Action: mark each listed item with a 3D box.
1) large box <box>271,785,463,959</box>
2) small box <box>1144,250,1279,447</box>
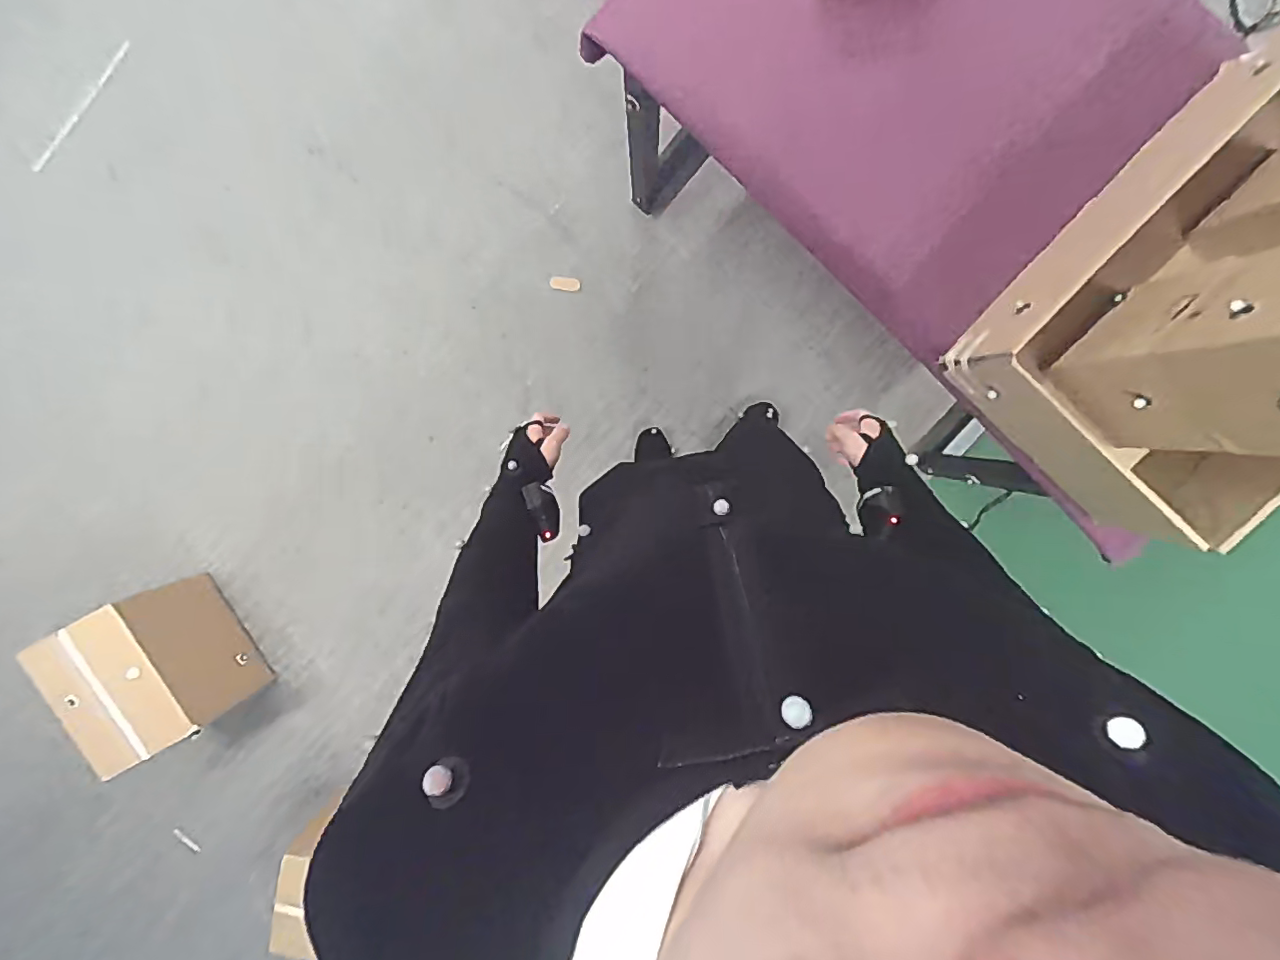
[{"bbox_3d":[-0.797,1.179,1.623,0.408,0.320,0.320,11,97,-2],"label":"large box"},{"bbox_3d":[0.722,-0.146,0.582,0.168,0.176,0.179,-44,93,6],"label":"small box"}]
